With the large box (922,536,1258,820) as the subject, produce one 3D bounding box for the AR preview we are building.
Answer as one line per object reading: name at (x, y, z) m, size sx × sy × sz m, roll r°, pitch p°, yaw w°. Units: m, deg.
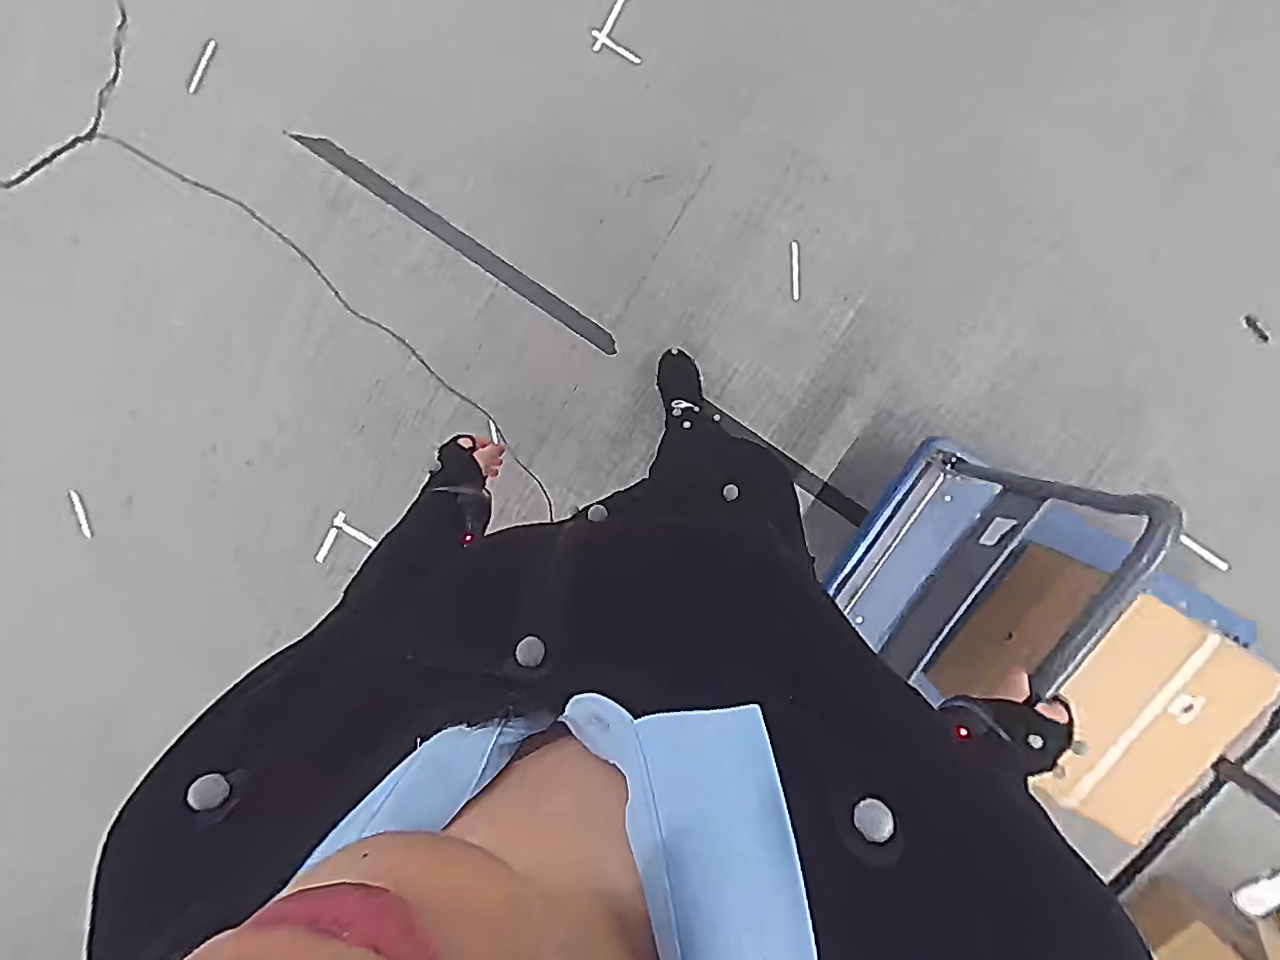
large box at (0.900, 0.392, 1.152) m, size 0.320 × 0.320 × 0.408 m, roll 32°, pitch 99°, yaw -1°
